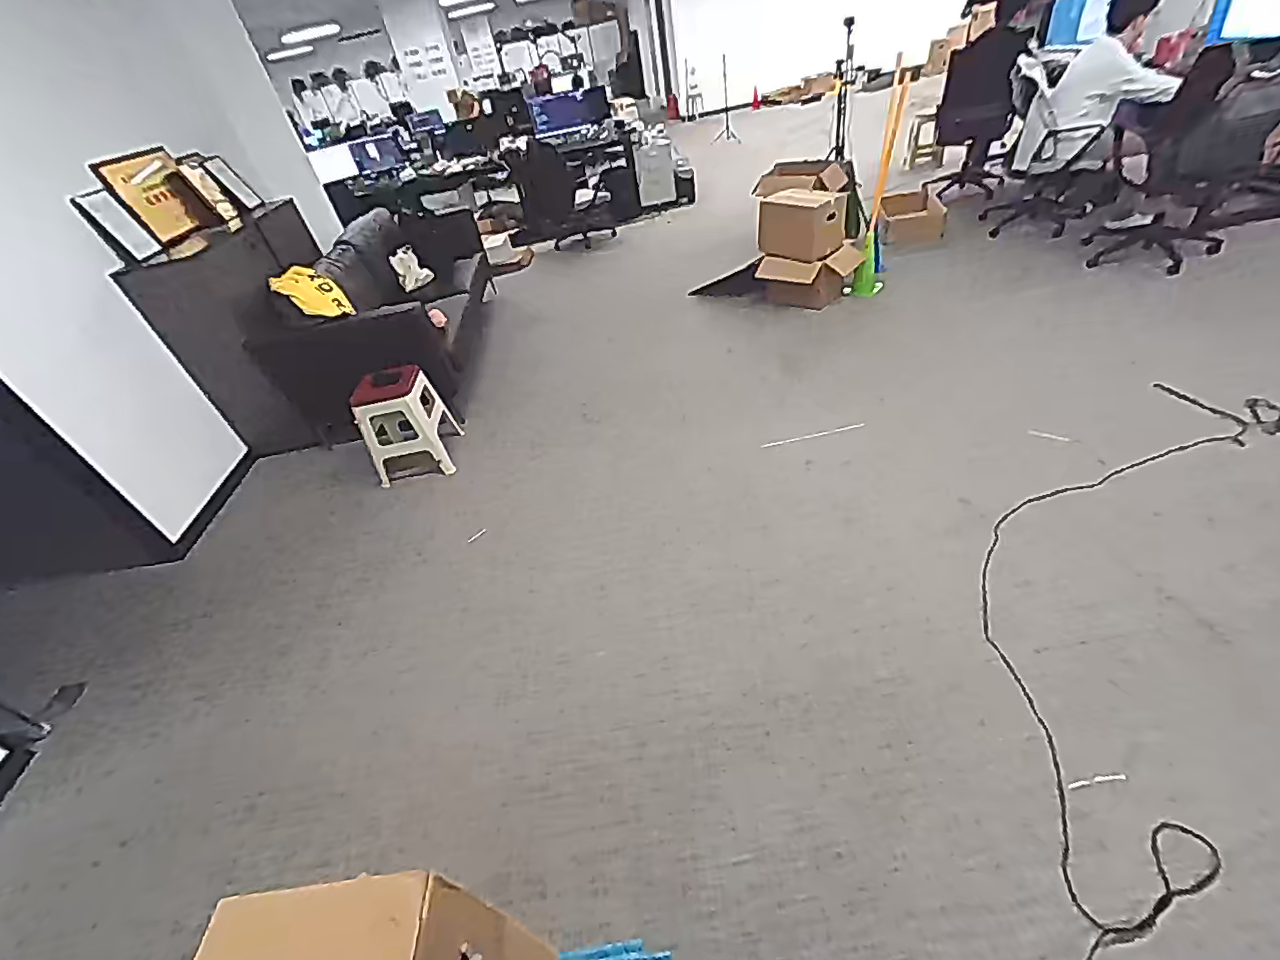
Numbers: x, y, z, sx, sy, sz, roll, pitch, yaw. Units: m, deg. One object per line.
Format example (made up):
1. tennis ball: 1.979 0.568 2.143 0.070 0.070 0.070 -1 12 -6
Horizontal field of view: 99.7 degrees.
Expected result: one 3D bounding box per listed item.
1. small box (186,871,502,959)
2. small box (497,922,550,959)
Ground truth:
1. small box: -0.215 0.408 0.387 0.179 0.176 0.168 -11 39 5
2. small box: -0.183 0.531 0.488 0.179 0.176 0.168 -12 39 2
